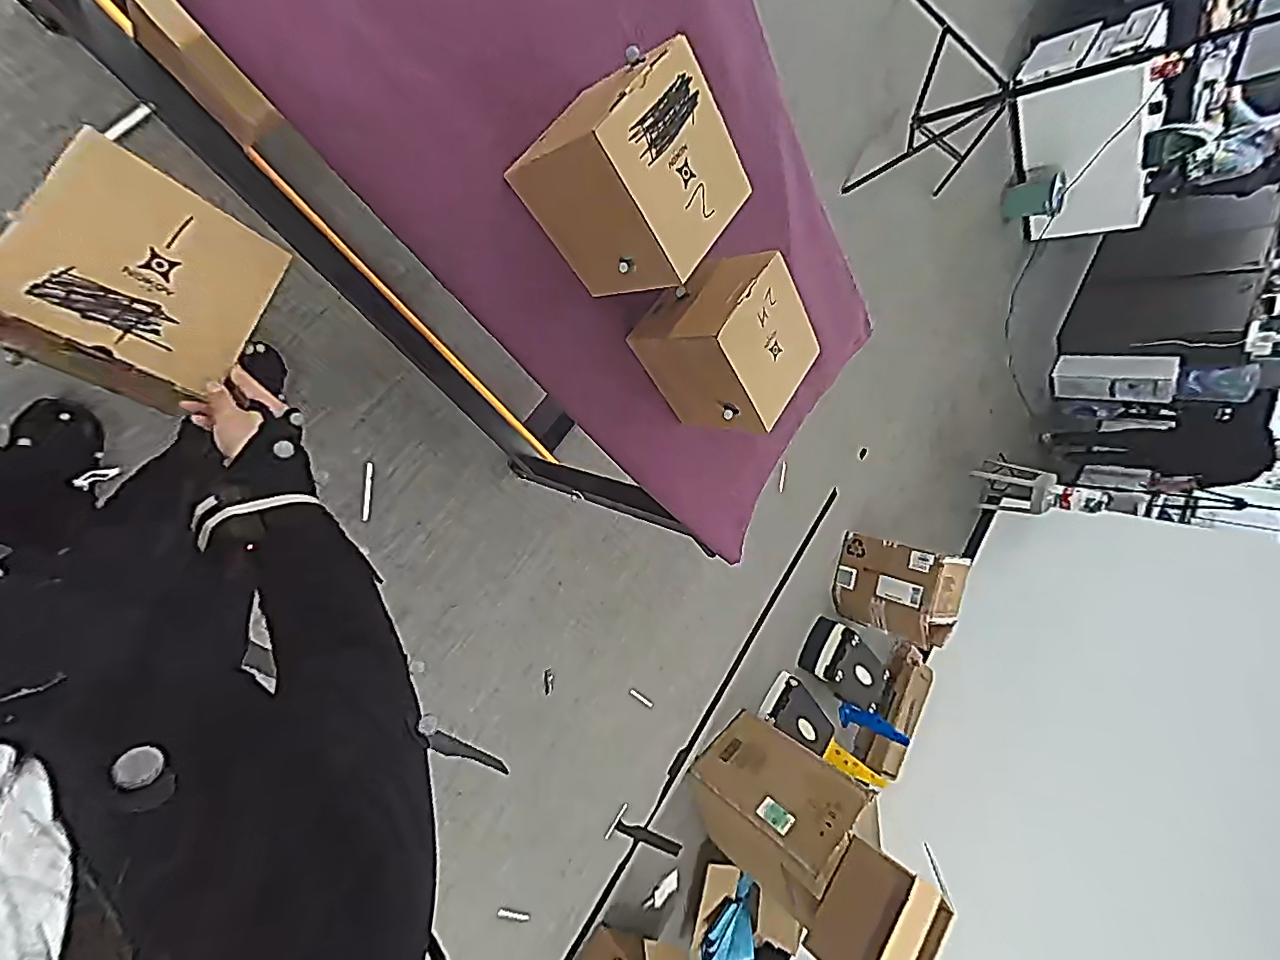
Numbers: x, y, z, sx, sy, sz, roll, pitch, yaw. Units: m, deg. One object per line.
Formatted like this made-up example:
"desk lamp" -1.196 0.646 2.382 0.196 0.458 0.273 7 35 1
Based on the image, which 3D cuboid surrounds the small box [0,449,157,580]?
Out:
"small box" -0.929 0.055 0.879 0.179 0.176 0.168 22 82 -45
